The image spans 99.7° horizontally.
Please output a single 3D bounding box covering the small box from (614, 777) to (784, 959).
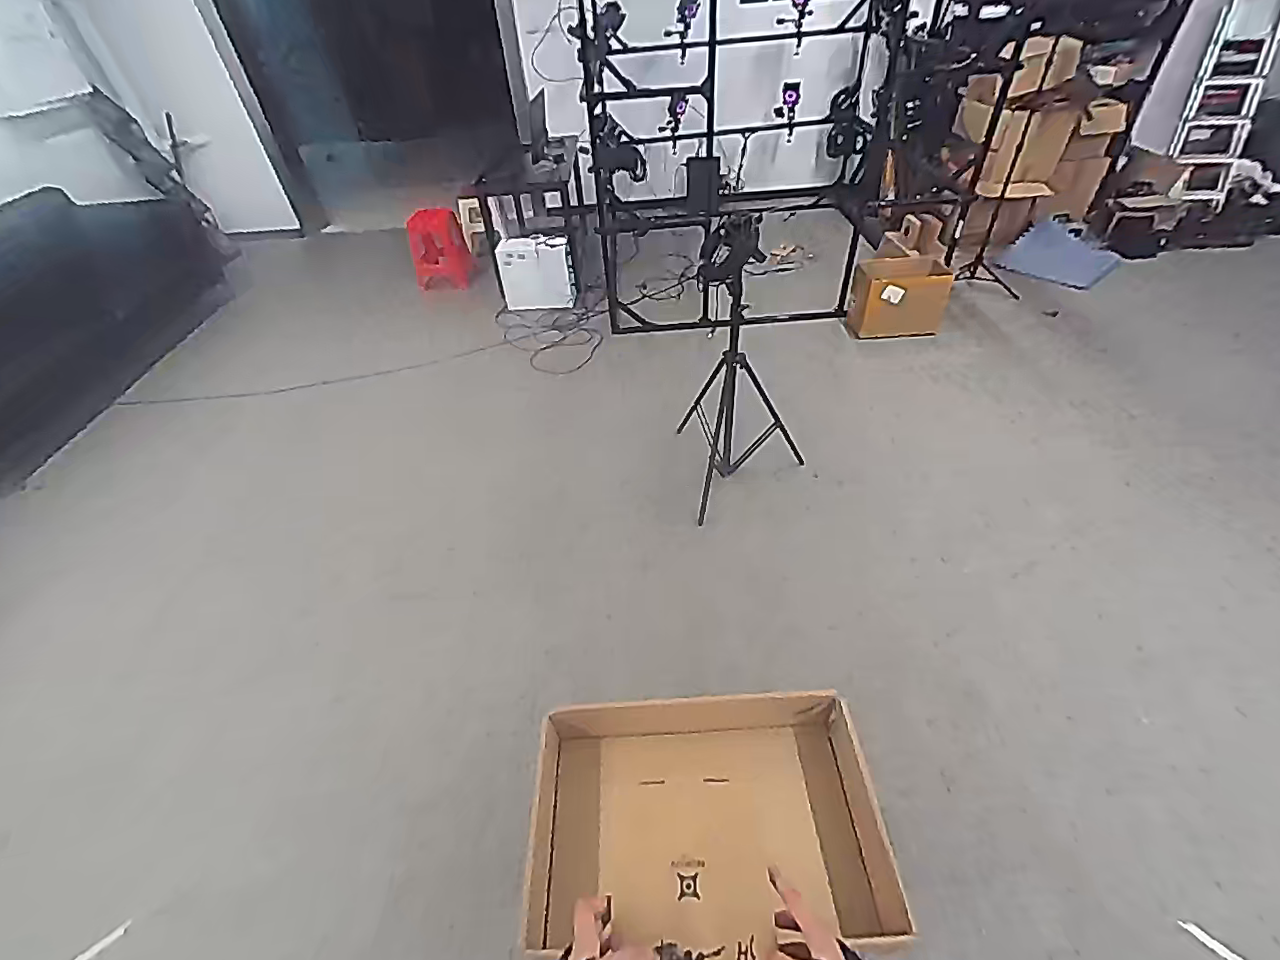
[{"bbox_3d":[0.067,0.454,0.619,0.168,0.176,0.179,-6,53,7],"label":"small box"}]
